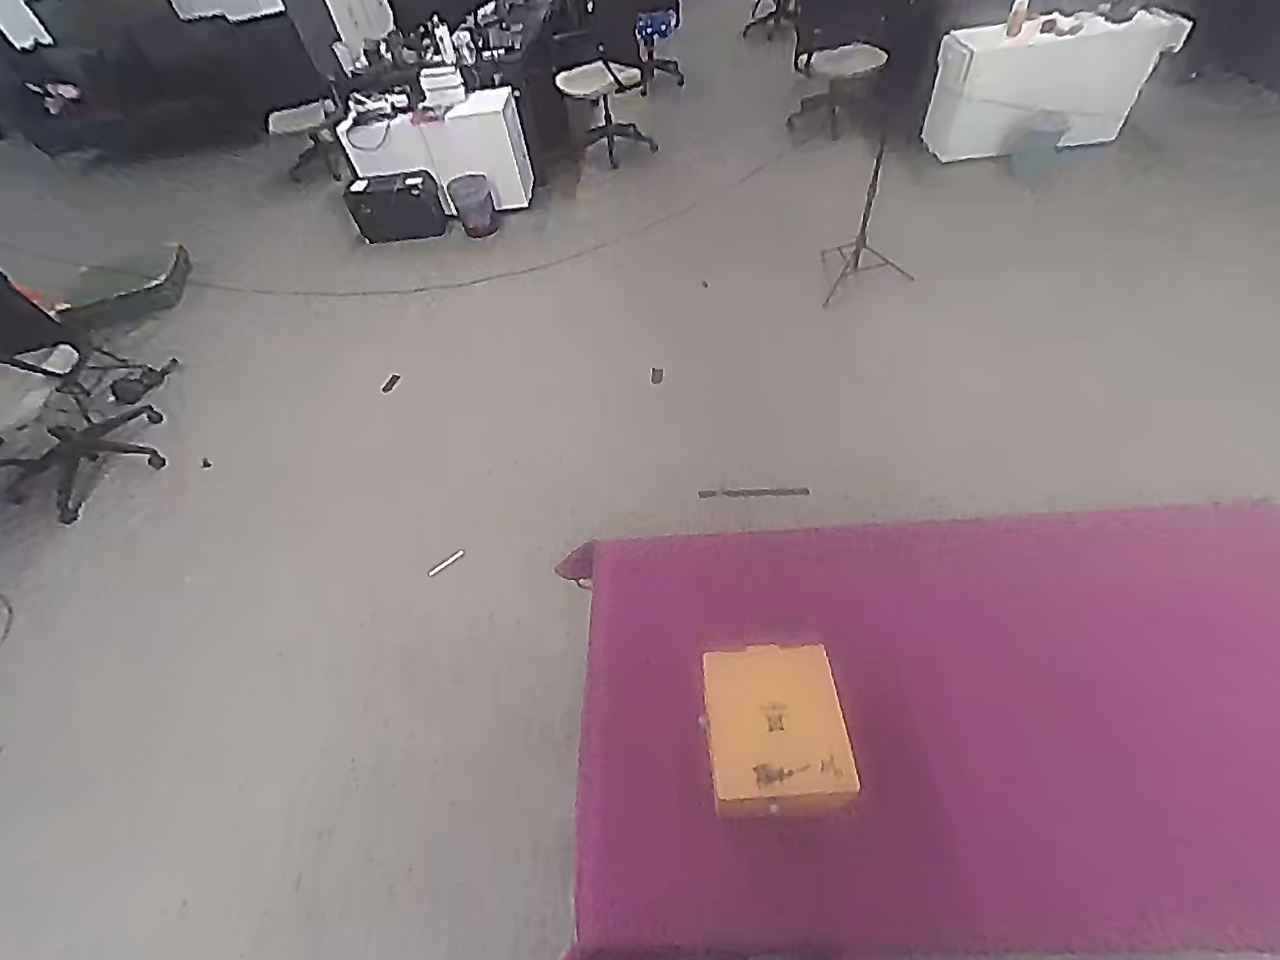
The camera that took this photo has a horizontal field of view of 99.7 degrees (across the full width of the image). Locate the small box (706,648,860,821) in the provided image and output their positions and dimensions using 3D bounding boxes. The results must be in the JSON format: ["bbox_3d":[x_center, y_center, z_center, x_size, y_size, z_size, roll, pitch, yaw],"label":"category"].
[{"bbox_3d":[0.179,0.348,0.738,0.168,0.176,0.179,-5,51,4],"label":"small box"}]
